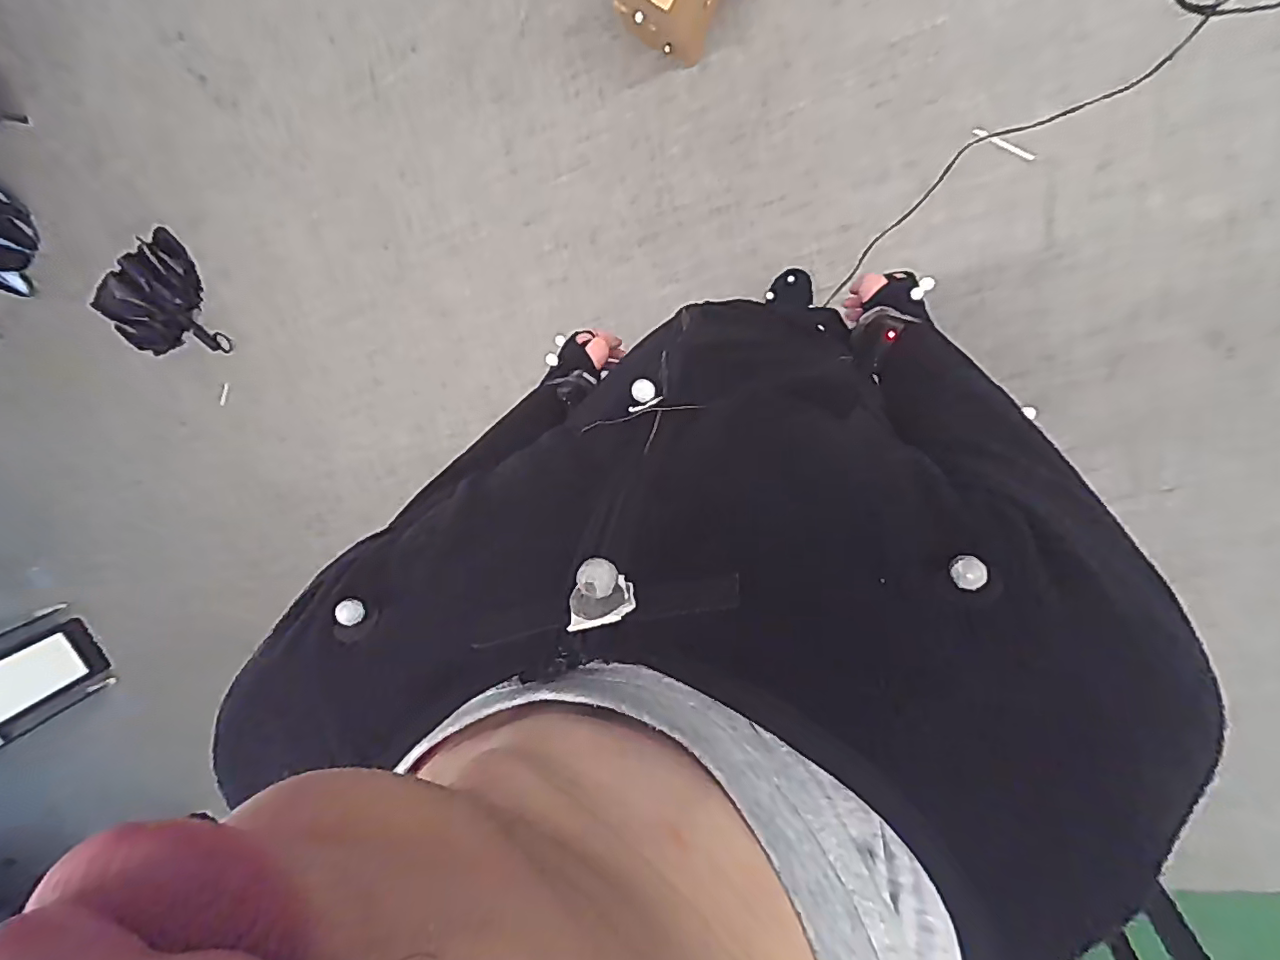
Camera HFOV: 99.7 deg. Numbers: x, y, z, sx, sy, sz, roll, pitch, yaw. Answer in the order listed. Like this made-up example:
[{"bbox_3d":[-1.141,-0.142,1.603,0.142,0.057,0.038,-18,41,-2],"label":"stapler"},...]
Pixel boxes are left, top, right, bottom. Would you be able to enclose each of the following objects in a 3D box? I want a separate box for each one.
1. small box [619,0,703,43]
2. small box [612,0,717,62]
[{"bbox_3d":[0.042,-0.977,1.005,0.168,0.176,0.179,34,116,0],"label":"small box"},{"bbox_3d":[0.064,-1.043,1.154,0.168,0.176,0.179,27,113,3],"label":"small box"}]
